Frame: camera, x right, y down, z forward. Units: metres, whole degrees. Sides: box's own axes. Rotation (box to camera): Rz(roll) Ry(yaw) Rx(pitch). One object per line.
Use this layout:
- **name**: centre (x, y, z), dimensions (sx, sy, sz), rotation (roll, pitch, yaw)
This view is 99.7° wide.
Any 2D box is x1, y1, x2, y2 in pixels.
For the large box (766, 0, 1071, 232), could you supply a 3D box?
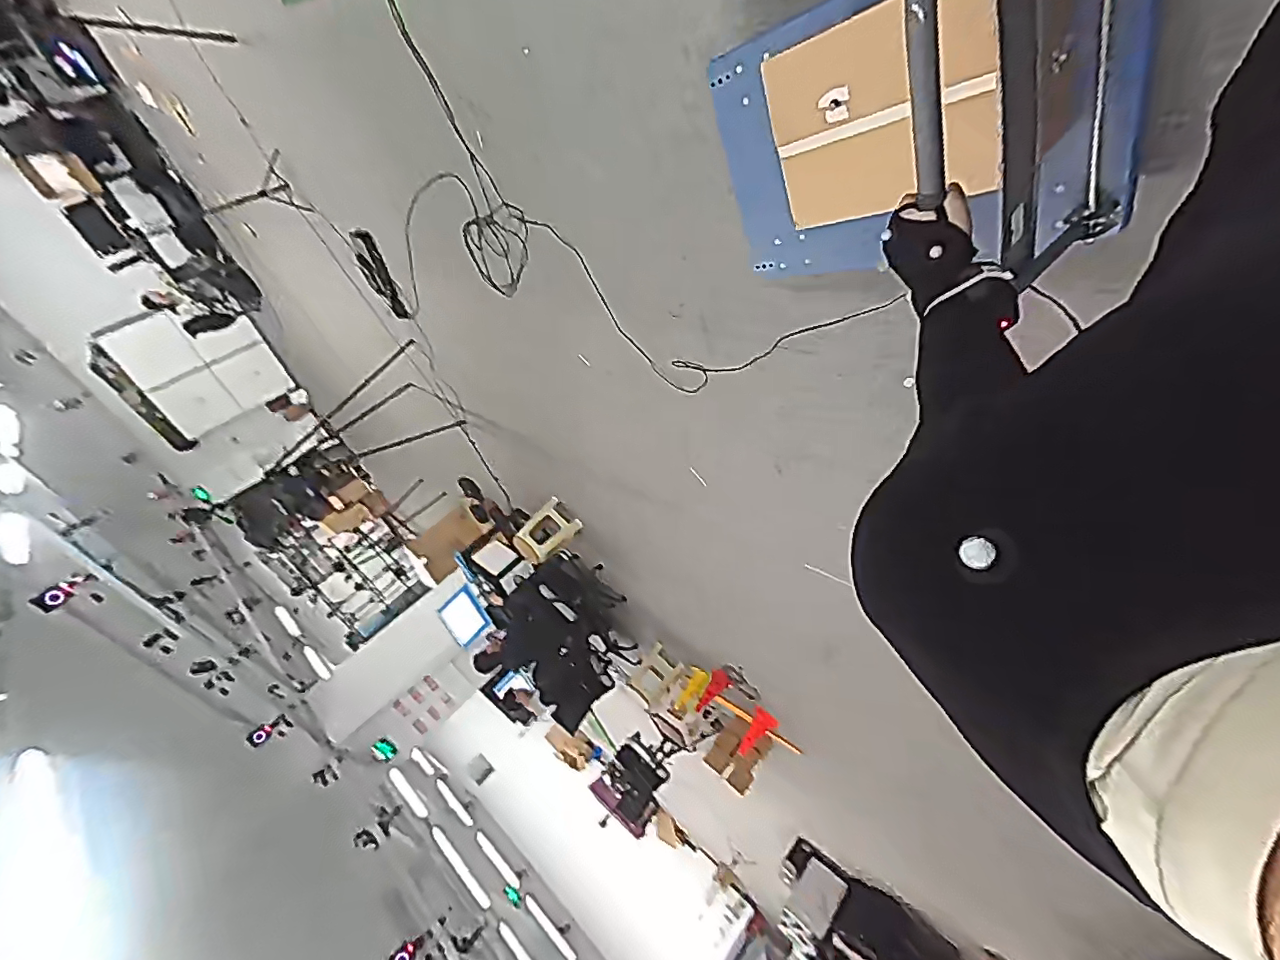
- **large box**: centre (0.518, -0.712, 1.010), dimensions (0.408, 0.320, 0.320), rotation (13, 135, 48)
